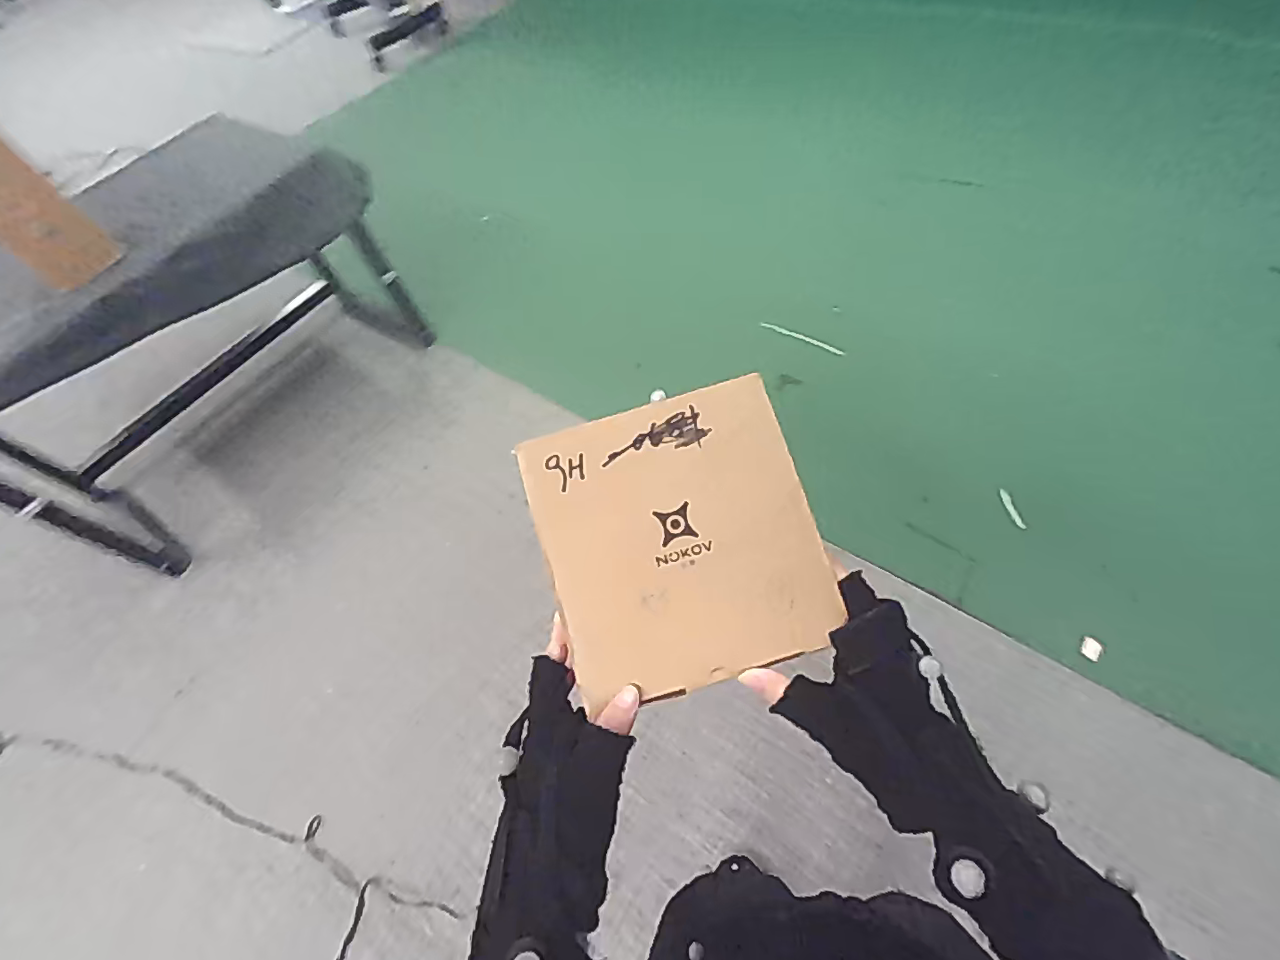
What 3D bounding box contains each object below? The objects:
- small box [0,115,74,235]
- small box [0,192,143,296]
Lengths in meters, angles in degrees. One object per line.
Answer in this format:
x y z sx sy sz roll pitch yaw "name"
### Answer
-1.396 -0.666 1.167 0.168 0.176 0.179 27 66 23 "small box"
-1.375 -0.576 1.303 0.168 0.176 0.179 29 66 24 "small box"
